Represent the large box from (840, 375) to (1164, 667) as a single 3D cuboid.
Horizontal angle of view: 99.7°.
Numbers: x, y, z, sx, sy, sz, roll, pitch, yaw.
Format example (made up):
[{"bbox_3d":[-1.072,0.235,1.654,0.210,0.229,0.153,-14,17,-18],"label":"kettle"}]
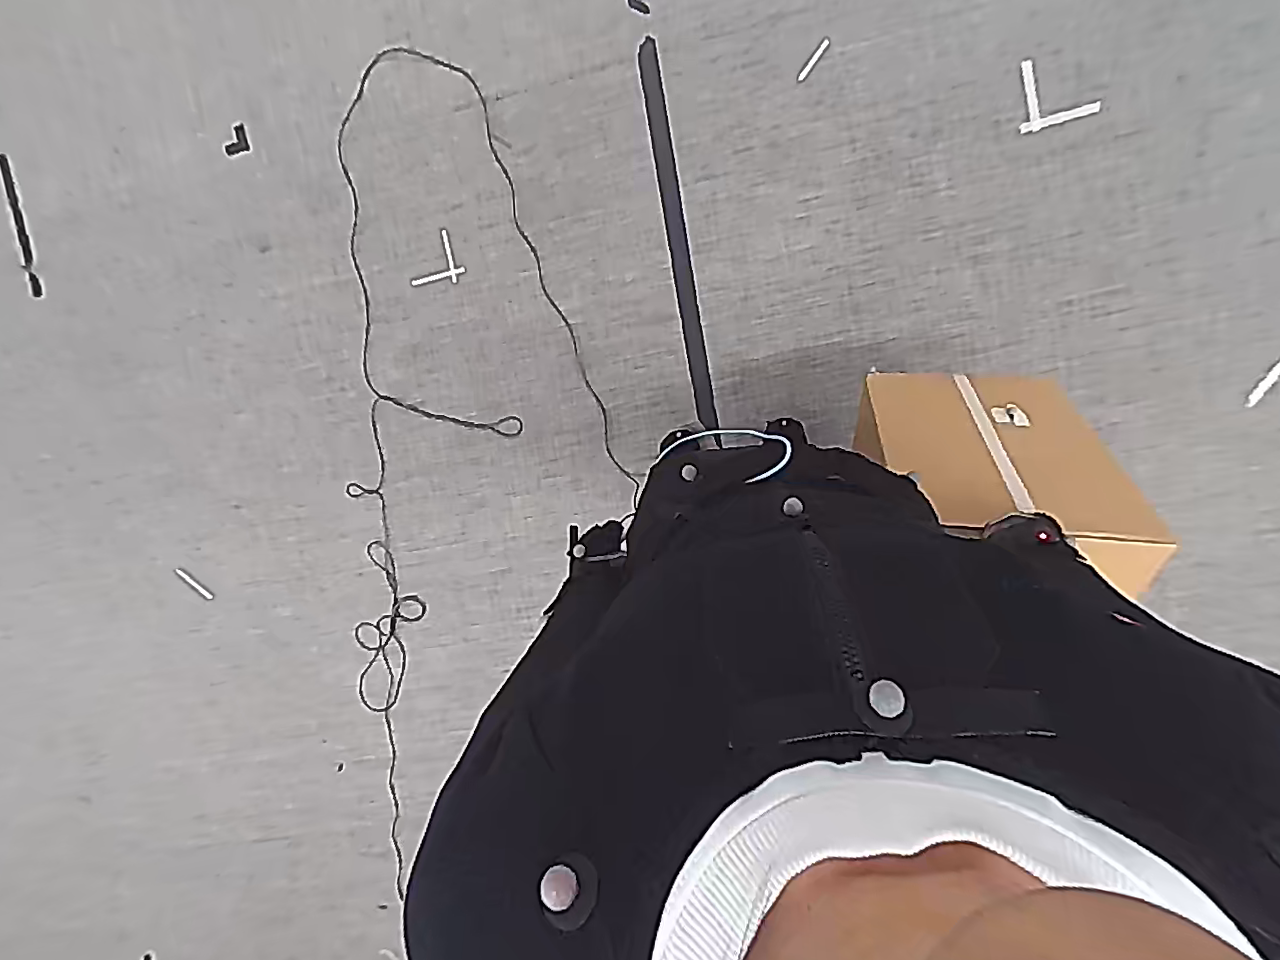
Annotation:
[{"bbox_3d":[0.543,0.055,0.931,0.320,0.408,0.320,4,129,11],"label":"large box"}]
